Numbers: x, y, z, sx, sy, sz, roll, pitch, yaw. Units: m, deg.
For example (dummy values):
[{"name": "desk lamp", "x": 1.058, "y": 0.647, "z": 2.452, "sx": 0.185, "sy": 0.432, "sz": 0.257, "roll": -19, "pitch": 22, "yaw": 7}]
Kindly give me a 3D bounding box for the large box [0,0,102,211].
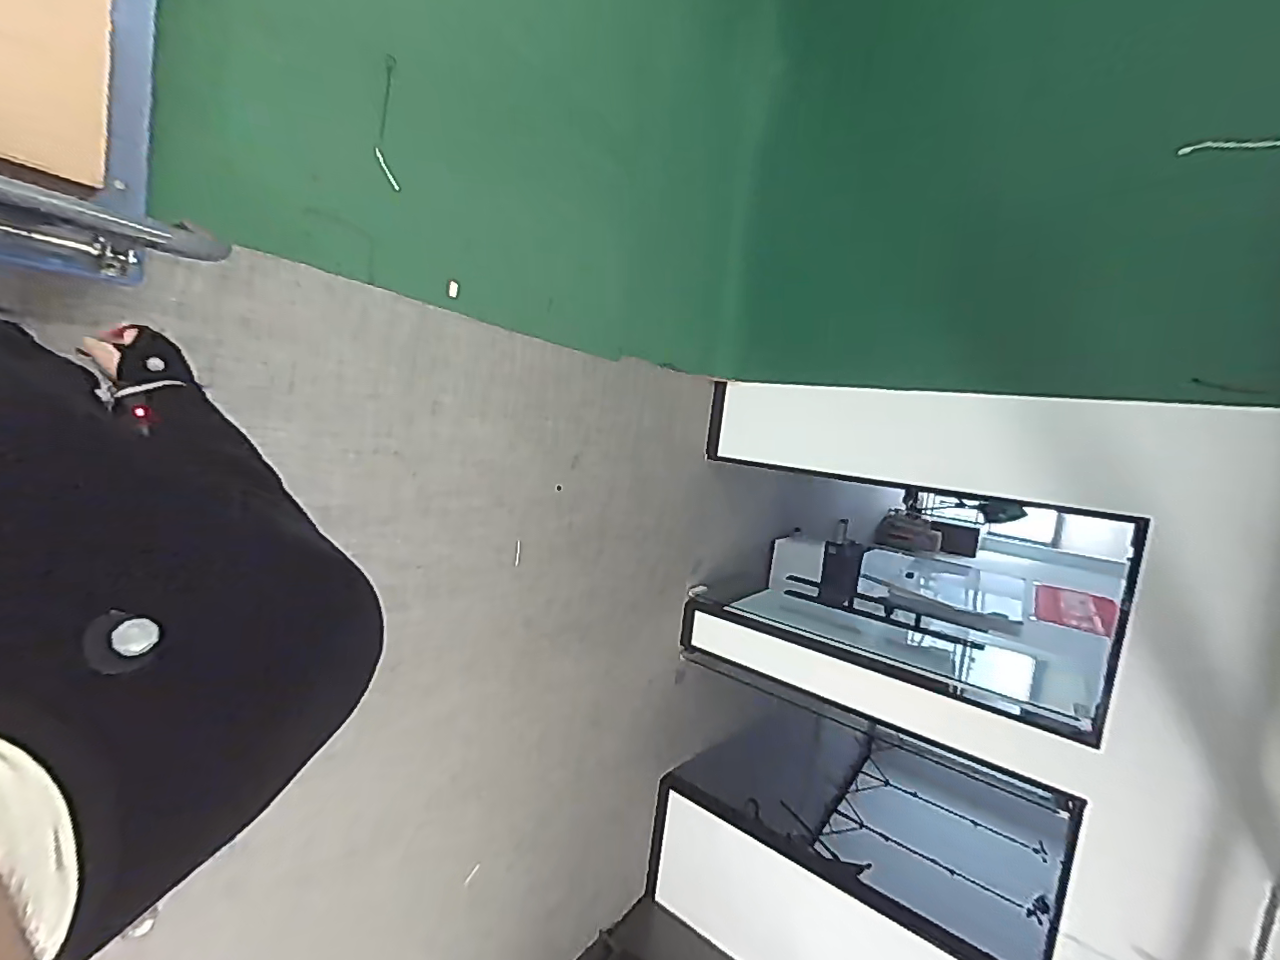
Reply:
[{"name": "large box", "x": -1.008, "y": -0.662, "z": 0.766, "sx": 0.320, "sy": 0.320, "sz": 0.408, "roll": 0, "pitch": 98, "yaw": -54}]
